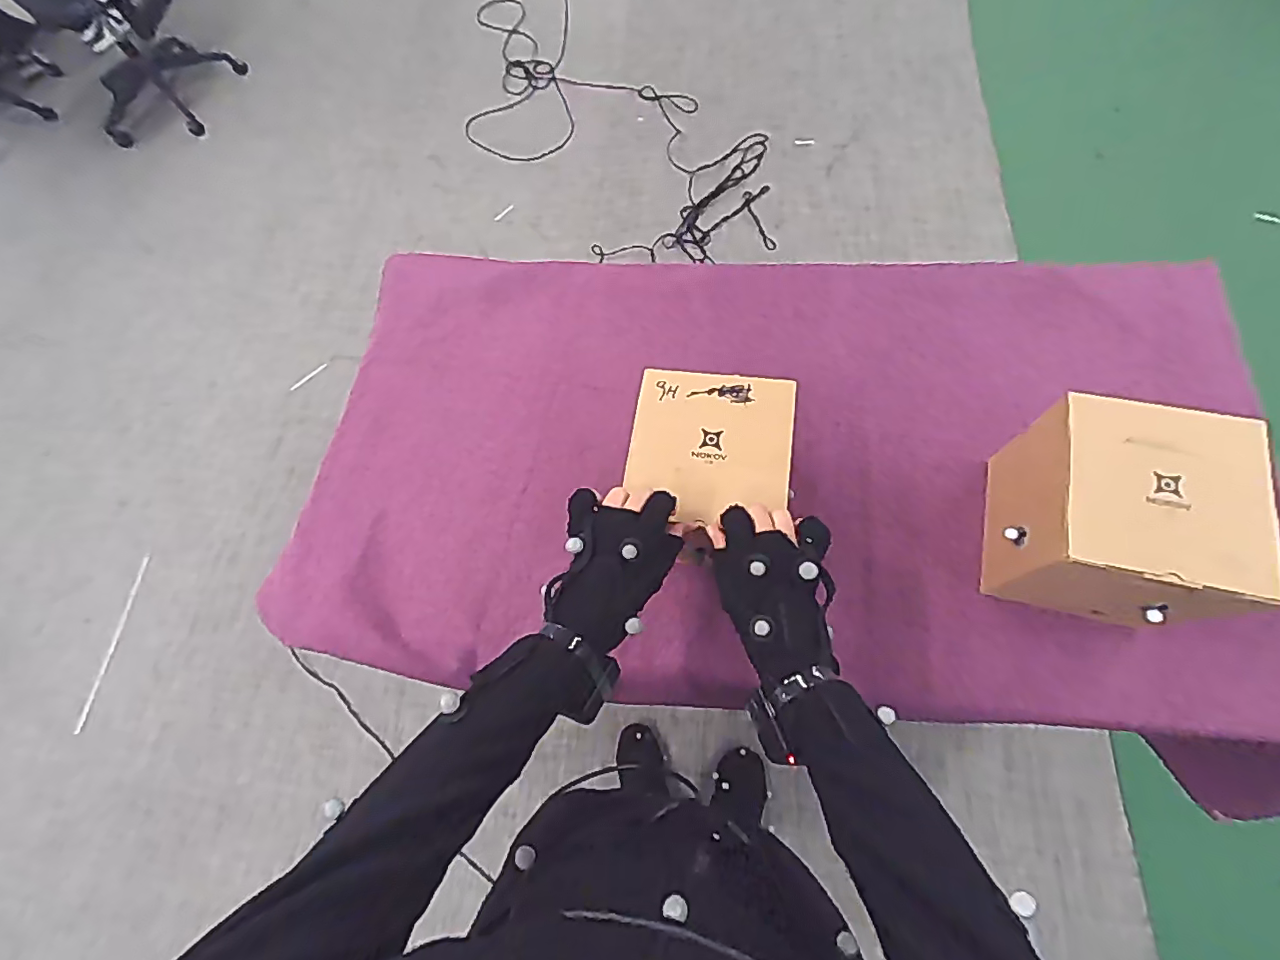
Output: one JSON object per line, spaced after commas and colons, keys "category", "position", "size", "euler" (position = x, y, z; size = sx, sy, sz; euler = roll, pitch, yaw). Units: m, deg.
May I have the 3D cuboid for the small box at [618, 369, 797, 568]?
{"category": "small box", "position": [0.081, -0.005, 0.628], "size": [0.168, 0.176, 0.179], "euler": [7, 70, 10]}

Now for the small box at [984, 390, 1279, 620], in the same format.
{"category": "small box", "position": [0.482, 0.035, 0.559], "size": [0.168, 0.176, 0.179], "euler": [13, 70, 12]}
